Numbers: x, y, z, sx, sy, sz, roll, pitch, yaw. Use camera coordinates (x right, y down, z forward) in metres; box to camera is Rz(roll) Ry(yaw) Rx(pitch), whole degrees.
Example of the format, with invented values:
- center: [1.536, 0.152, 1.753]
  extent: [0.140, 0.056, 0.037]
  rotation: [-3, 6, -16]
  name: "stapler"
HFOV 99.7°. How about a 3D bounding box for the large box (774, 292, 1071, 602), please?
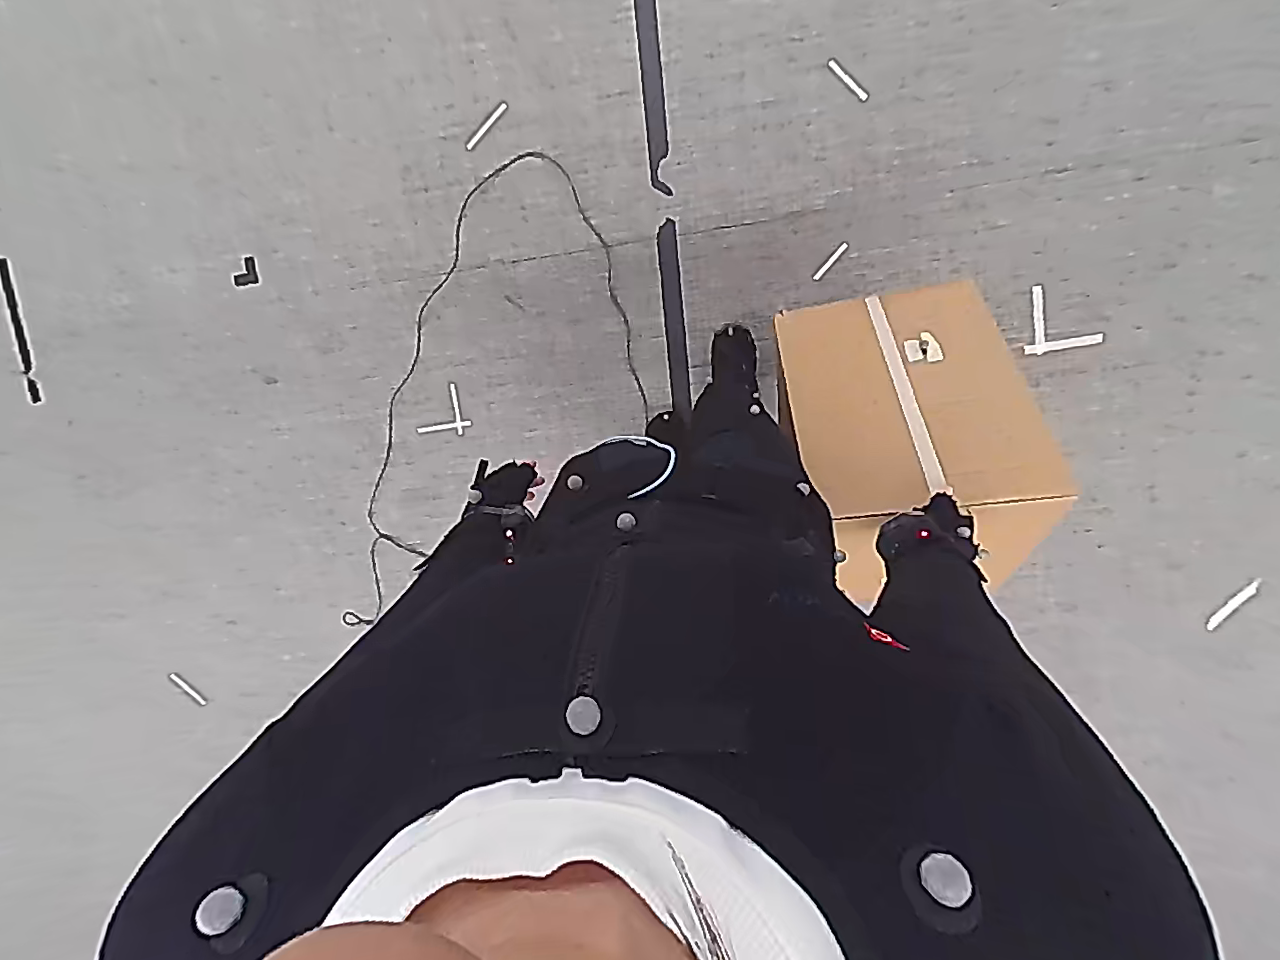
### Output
- center: [0.417, -0.046, 0.922]
  extent: [0.320, 0.408, 0.320]
  rotation: [-7, 144, 10]
  name: "large box"
